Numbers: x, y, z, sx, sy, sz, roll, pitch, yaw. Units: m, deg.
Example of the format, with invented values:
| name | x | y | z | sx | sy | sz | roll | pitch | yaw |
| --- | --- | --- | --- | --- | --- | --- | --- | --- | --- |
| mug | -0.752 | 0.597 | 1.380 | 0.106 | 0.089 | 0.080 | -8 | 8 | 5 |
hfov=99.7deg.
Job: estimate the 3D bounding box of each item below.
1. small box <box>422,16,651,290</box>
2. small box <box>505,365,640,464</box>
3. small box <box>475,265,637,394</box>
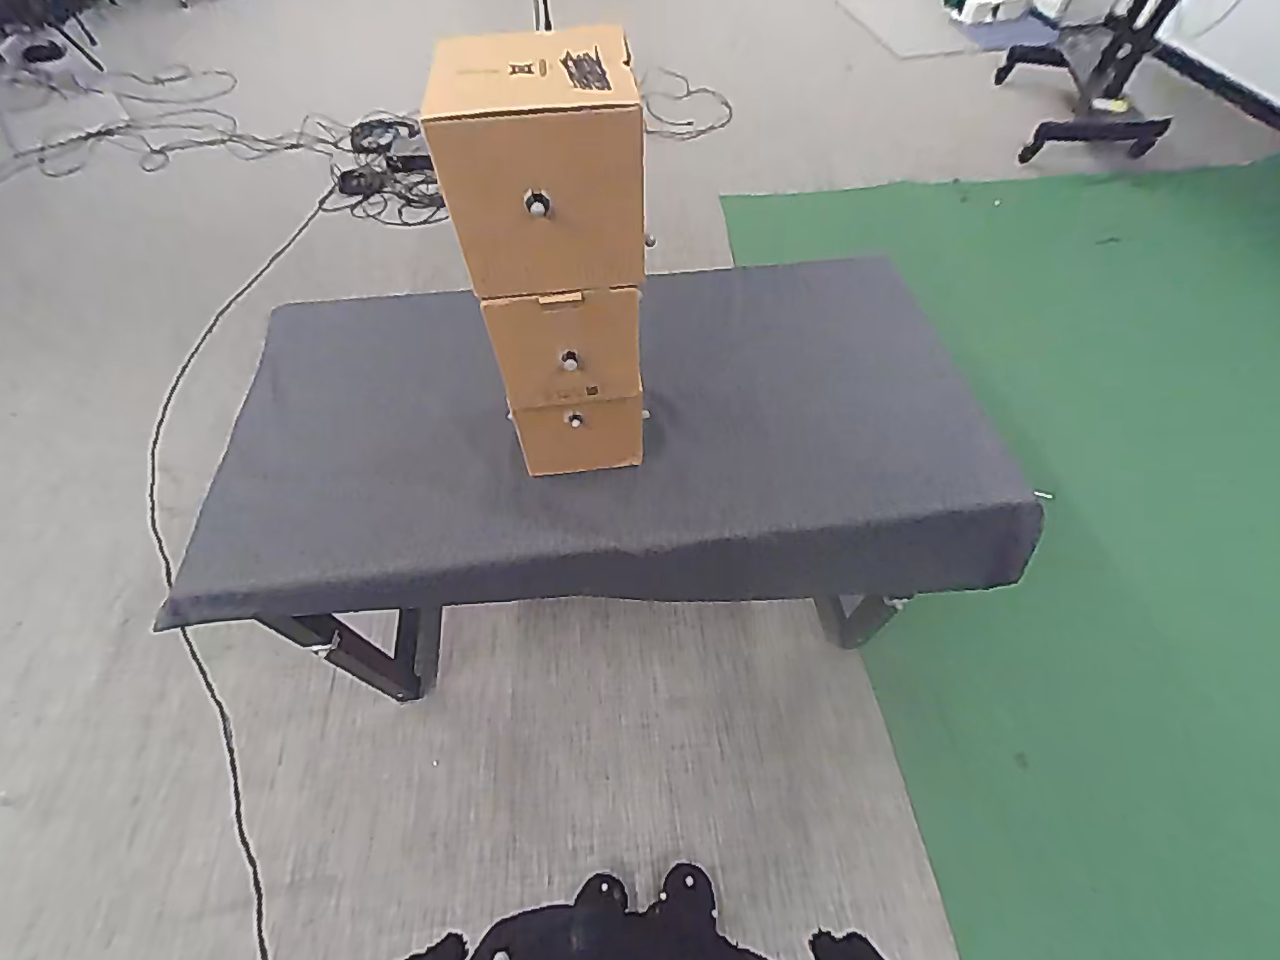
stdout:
| name | x | y | z | sx | sy | sz | roll | pitch | yaw |
| --- | --- | --- | --- | --- | --- | --- | --- | --- | --- |
| small box | -0.091 | -0.307 | 0.520 | 0.179 | 0.176 | 0.168 | -8 | 58 | -6 |
| small box | -0.094 | -0.137 | 0.801 | 0.179 | 0.176 | 0.168 | -6 | 58 | -4 |
| small box | -0.095 | -0.220 | 0.660 | 0.168 | 0.176 | 0.179 | -7 | 58 | -3 |
